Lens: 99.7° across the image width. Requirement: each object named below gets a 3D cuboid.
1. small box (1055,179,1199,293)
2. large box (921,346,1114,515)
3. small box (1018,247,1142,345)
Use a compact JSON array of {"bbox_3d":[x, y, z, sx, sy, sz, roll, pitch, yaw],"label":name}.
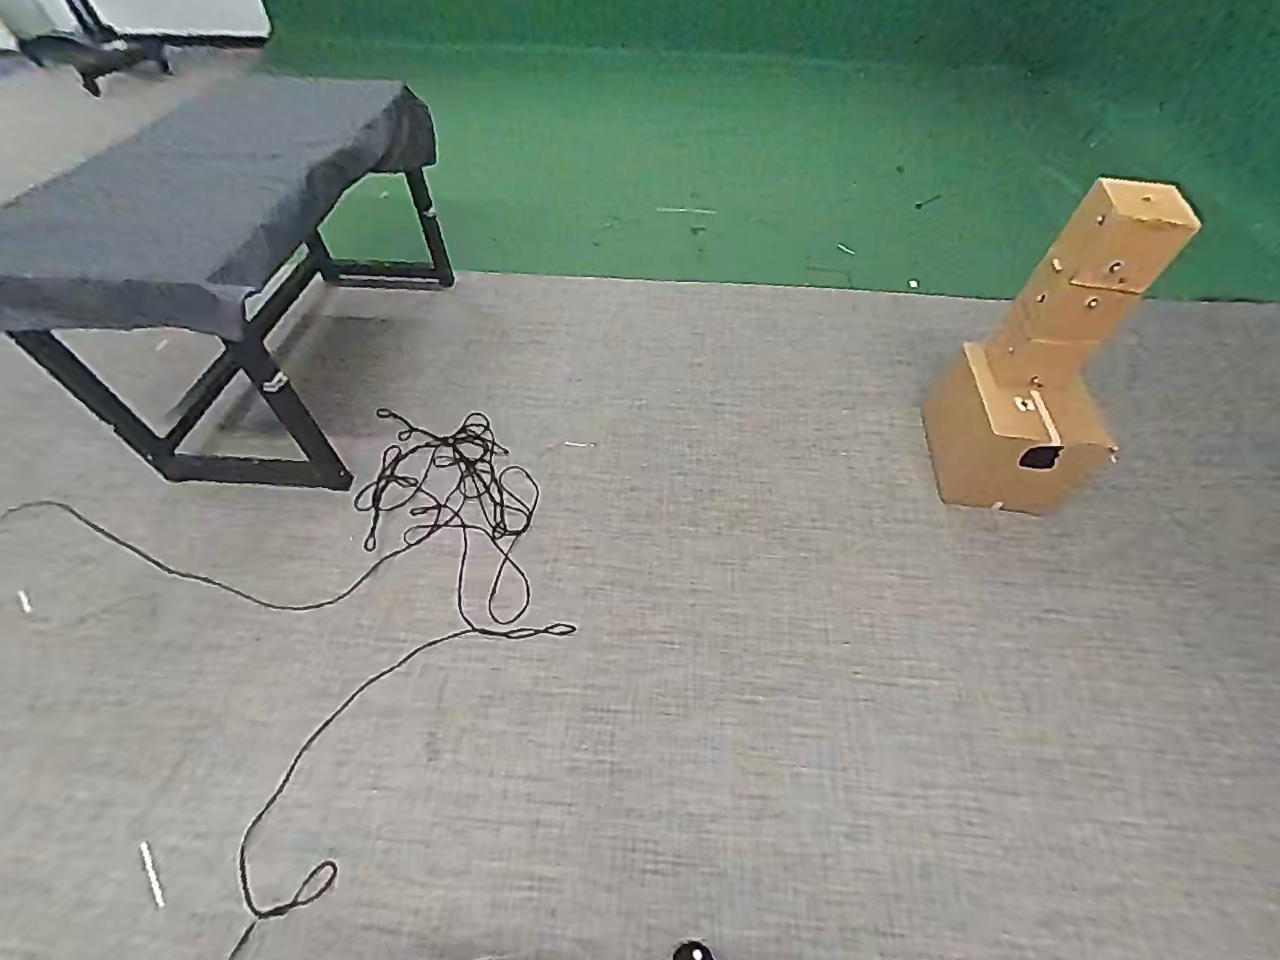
[{"bbox_3d":[1.112,-0.565,1.257,0.168,0.176,0.179,11,55,6],"label":"small box"},{"bbox_3d":[1.114,-0.153,1.658,0.320,0.320,0.408,6,53,5],"label":"large box"},{"bbox_3d":[1.109,-0.467,1.387,0.179,0.176,0.168,10,55,5],"label":"small box"}]
